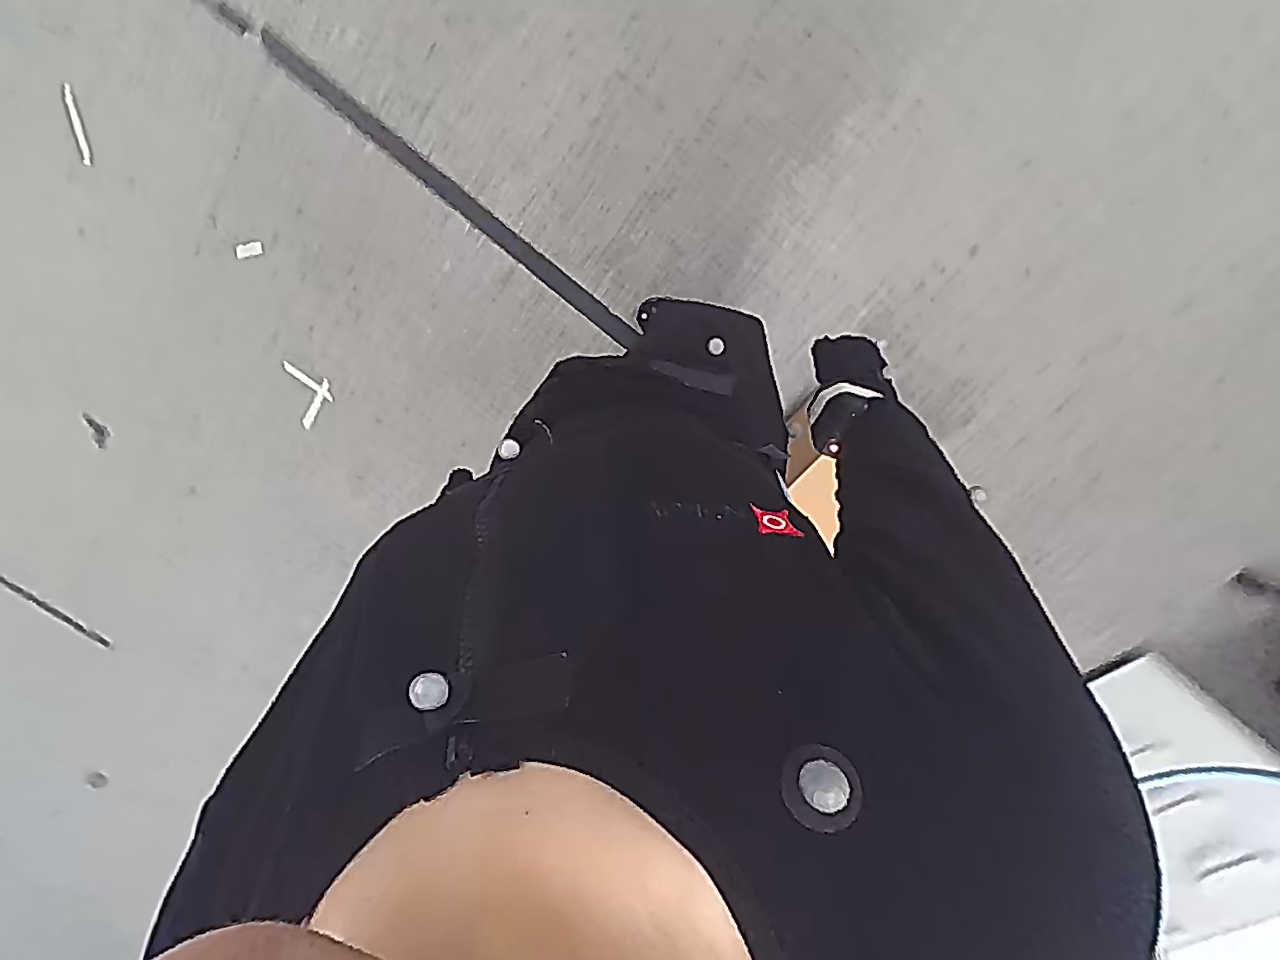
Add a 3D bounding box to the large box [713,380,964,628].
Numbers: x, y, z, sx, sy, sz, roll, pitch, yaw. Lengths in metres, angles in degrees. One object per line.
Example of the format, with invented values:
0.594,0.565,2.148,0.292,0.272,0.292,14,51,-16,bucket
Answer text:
0.409,0.042,1.233,0.320,0.320,0.408,37,110,-10,large box
